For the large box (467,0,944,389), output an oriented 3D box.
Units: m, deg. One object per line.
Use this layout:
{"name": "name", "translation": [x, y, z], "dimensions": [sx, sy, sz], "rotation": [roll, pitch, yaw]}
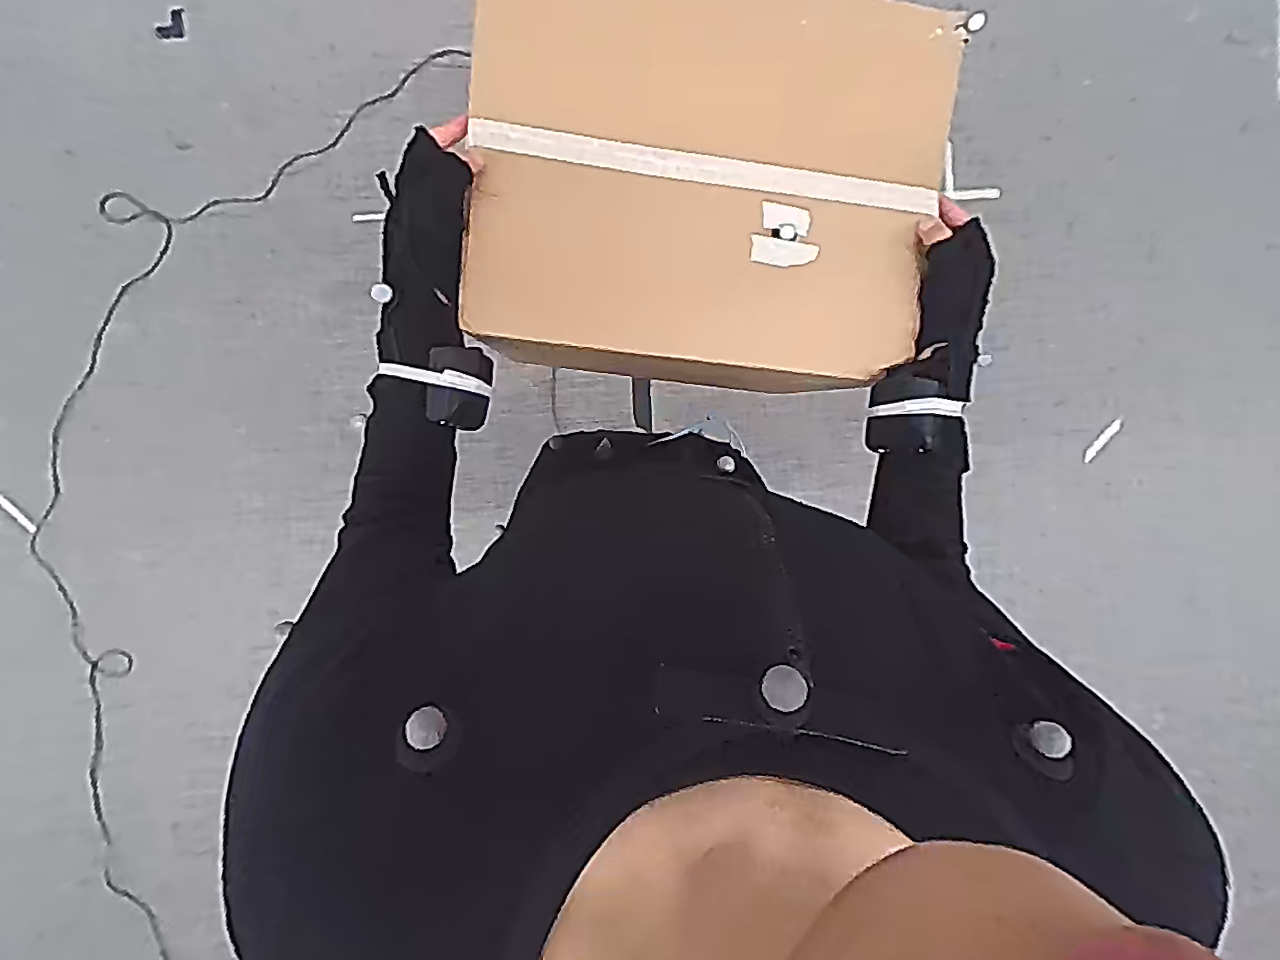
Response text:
{"name": "large box", "translation": [0.041, -0.280, 0.614], "dimensions": [0.408, 0.320, 0.320], "rotation": [5, 98, -7]}
